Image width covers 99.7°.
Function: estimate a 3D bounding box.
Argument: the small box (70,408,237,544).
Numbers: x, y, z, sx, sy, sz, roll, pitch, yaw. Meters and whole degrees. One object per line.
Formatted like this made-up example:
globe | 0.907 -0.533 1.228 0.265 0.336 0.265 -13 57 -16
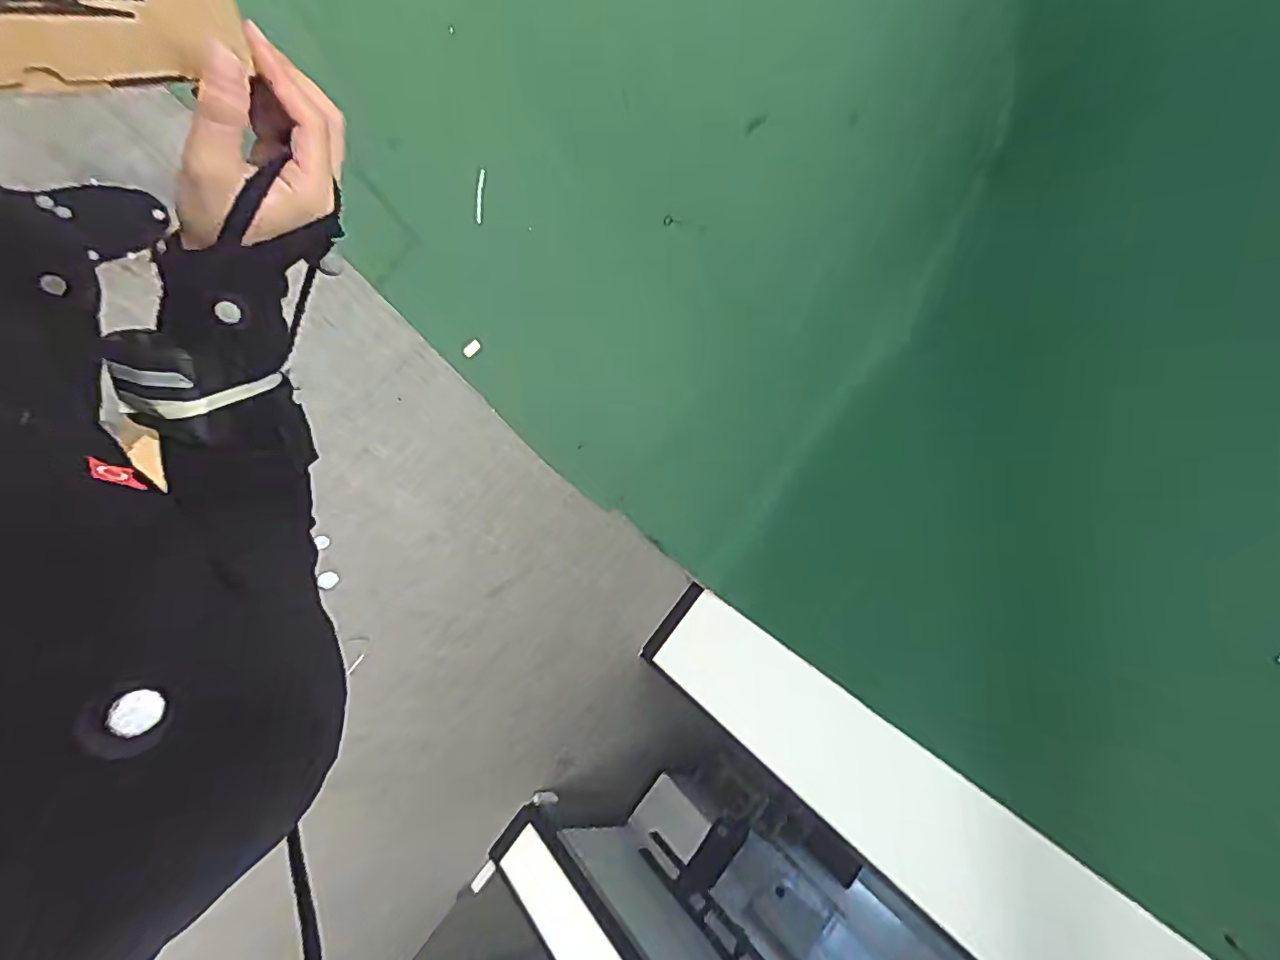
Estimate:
small box | -0.942 -0.011 1.053 0.168 0.176 0.179 -48 140 -12
